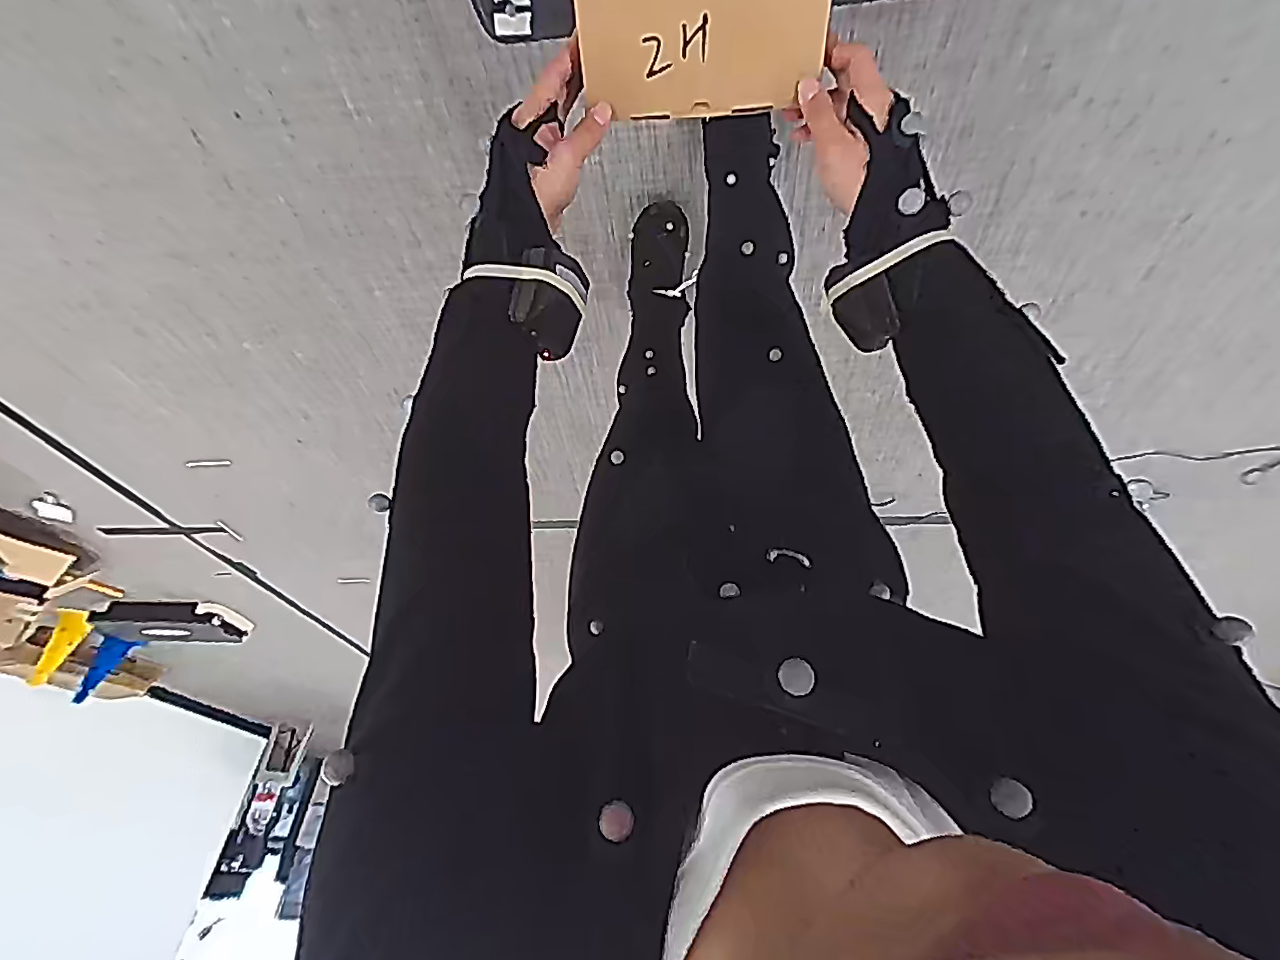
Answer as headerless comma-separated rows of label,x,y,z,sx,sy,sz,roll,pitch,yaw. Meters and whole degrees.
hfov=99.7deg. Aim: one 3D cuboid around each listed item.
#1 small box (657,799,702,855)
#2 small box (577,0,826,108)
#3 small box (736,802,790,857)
small box,0.154,1.348,2.097,0.168,0.176,0.179,-1,142,4
small box,0.041,-0.390,0.389,0.168,0.176,0.179,0,134,5
small box,0.466,1.335,2.065,0.179,0.176,0.168,-1,143,6
